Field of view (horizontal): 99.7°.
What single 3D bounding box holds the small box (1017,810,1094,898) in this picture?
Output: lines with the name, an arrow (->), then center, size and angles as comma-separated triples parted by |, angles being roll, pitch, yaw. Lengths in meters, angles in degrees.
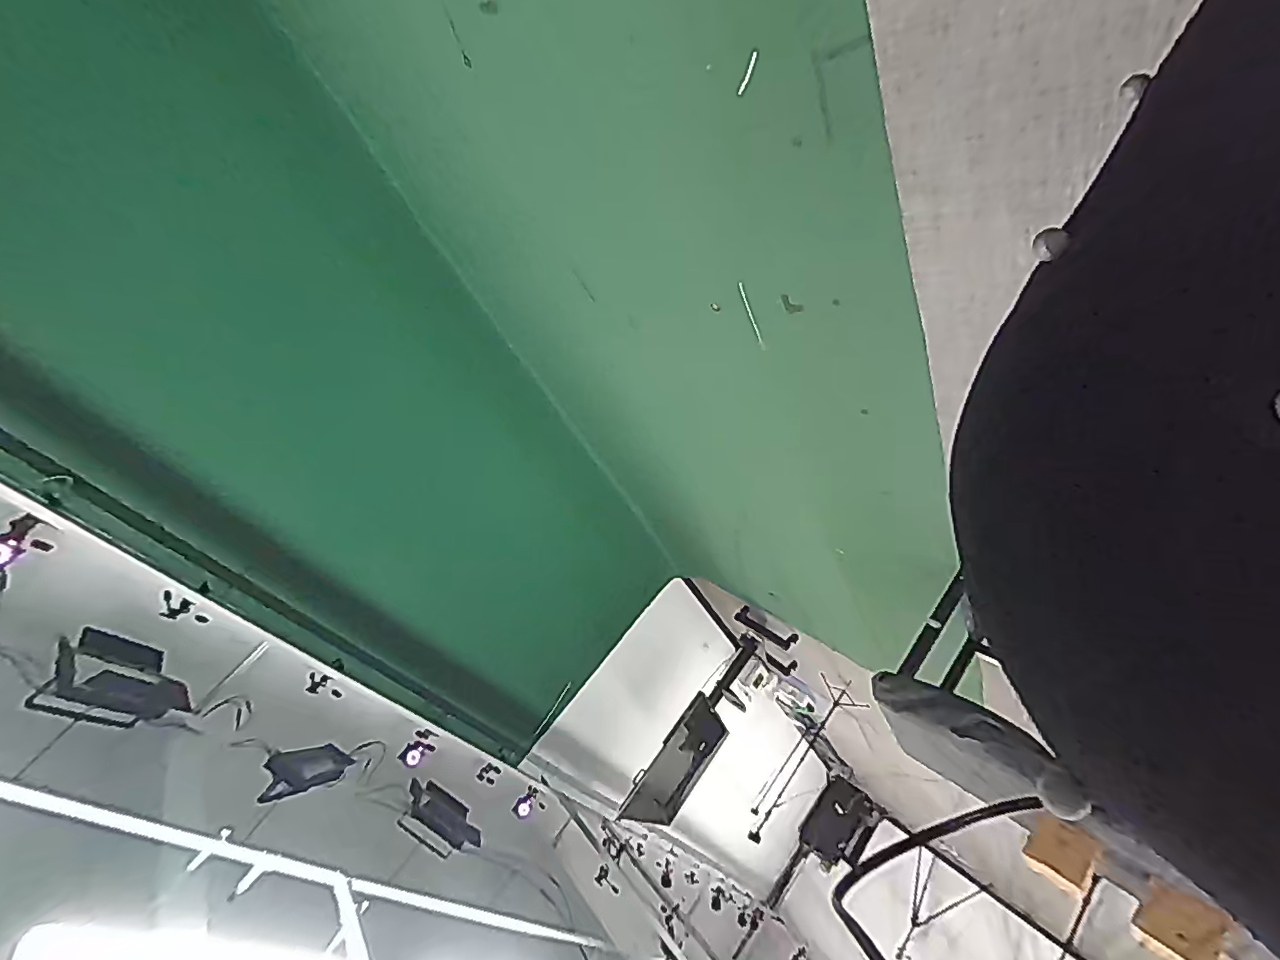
small box -> 1.417, 1.268, 1.843 | 0.168, 0.176, 0.179 | 21, 153, 49

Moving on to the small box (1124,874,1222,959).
small box -> 1.597, 1.340, 1.623 | 0.179, 0.176, 0.168 | 21, 153, 51
